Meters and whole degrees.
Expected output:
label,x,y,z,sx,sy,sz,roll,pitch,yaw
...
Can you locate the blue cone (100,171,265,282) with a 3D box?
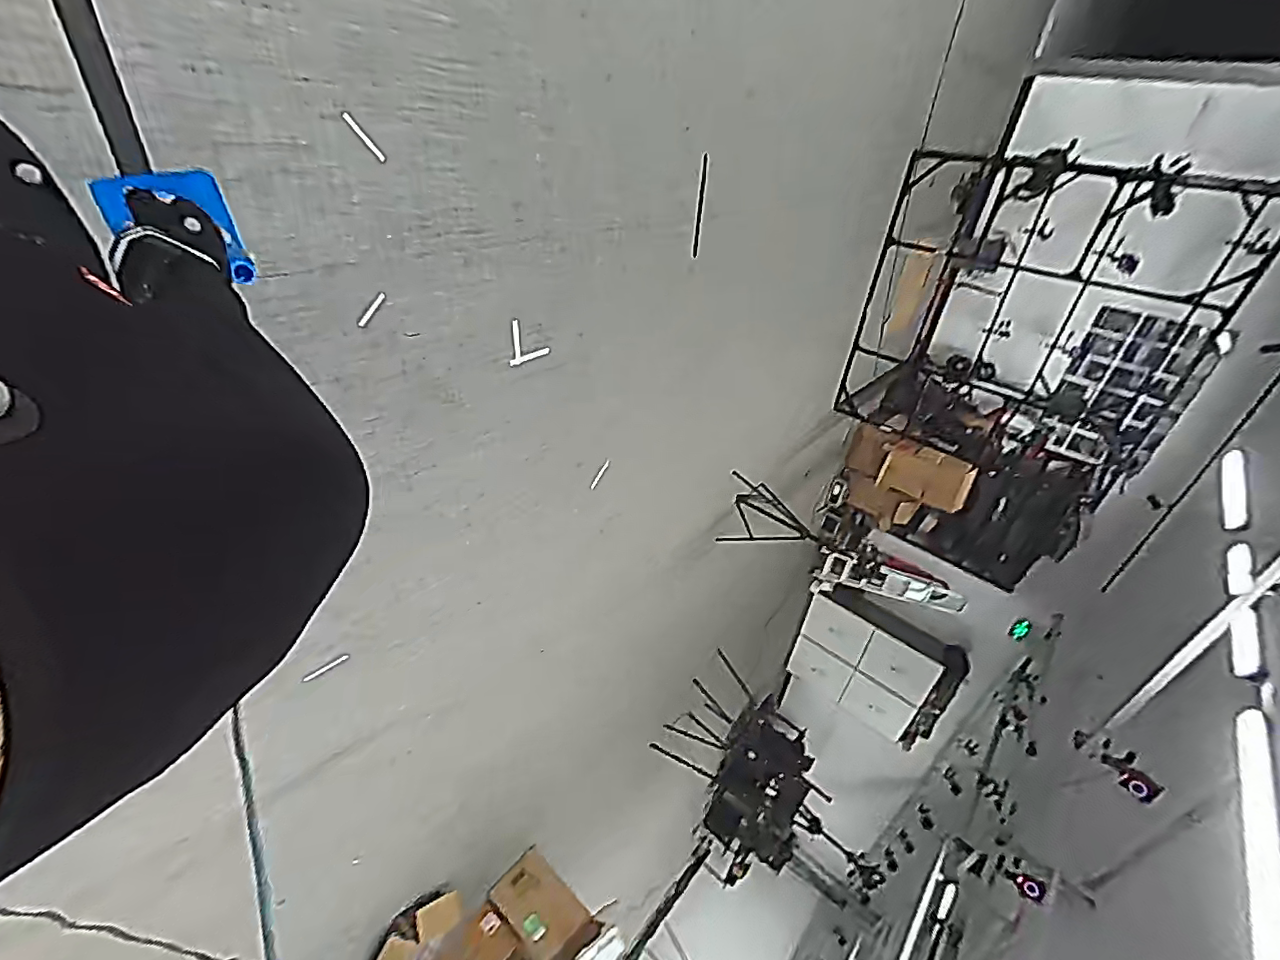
label,x,y,z,sx,sy,sz,roll,pitch,yaw
blue cone,-0.804,-0.435,1.002,0.192,0.380,0.193,-34,141,-39
